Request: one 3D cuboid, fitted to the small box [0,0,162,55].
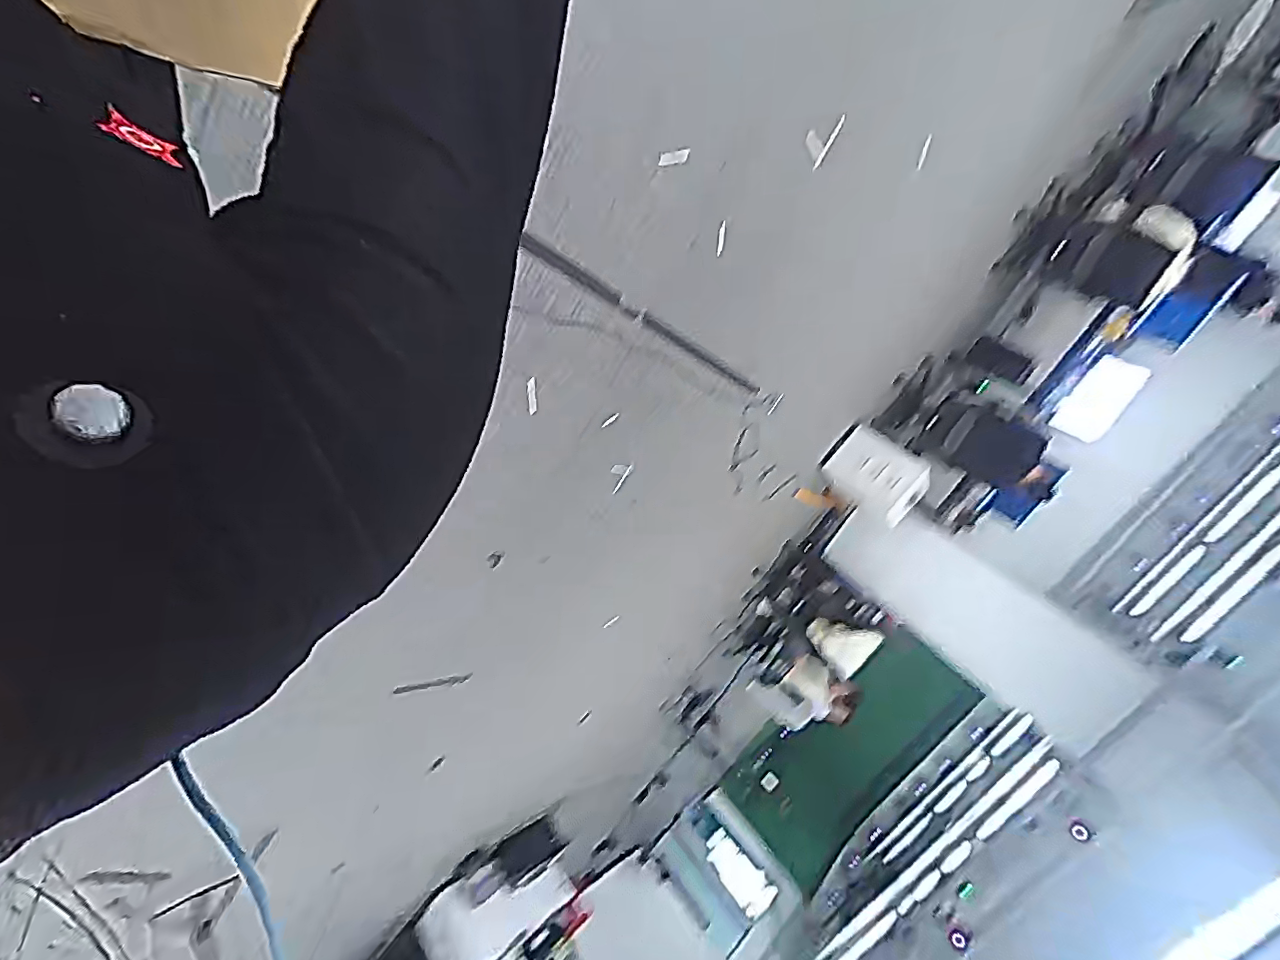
[{"bbox_3d":[-0.806,-0.707,0.725,0.168,0.176,0.179,-38,129,-42],"label":"small box"}]
